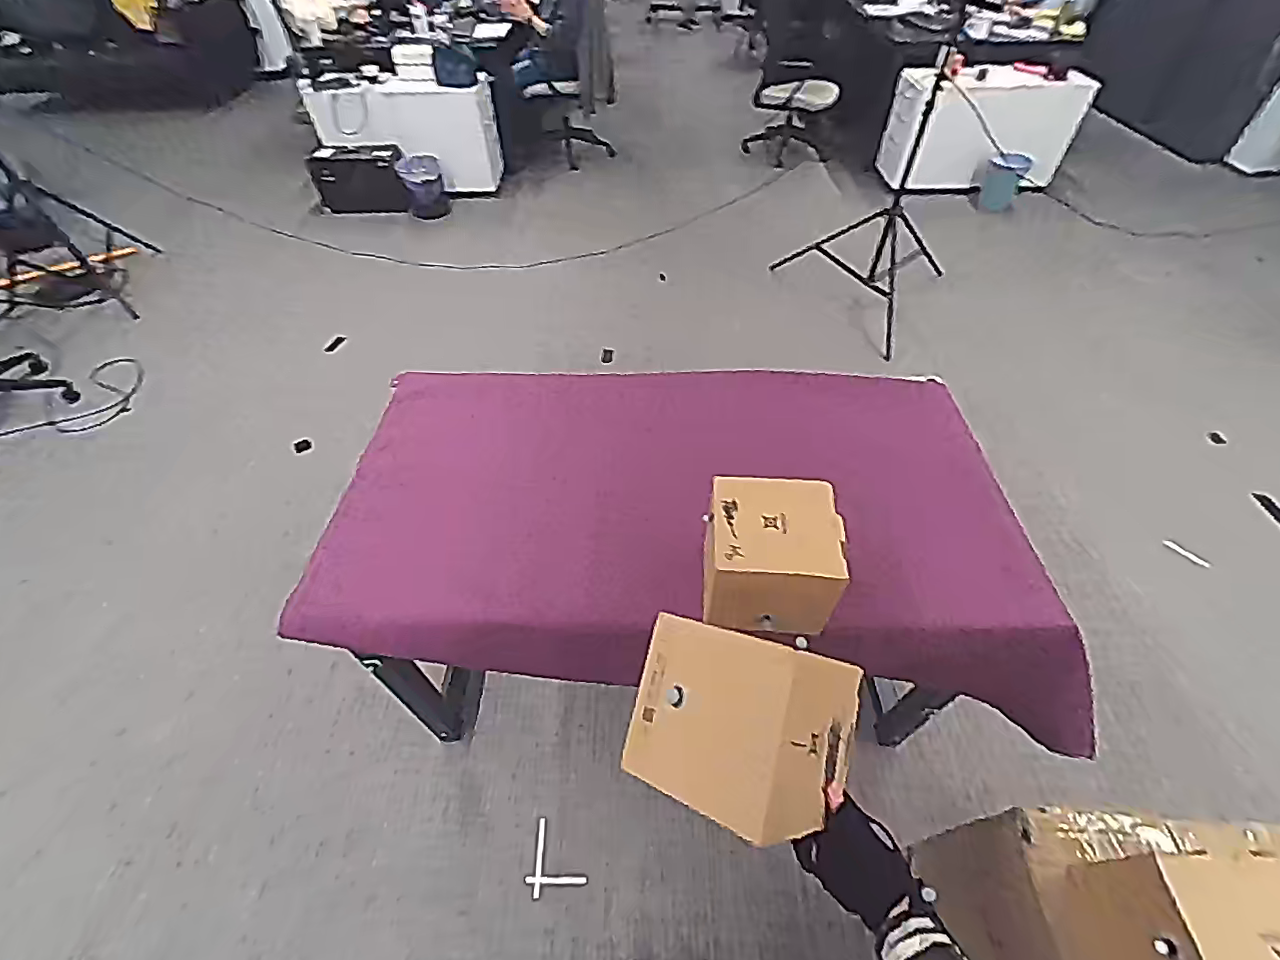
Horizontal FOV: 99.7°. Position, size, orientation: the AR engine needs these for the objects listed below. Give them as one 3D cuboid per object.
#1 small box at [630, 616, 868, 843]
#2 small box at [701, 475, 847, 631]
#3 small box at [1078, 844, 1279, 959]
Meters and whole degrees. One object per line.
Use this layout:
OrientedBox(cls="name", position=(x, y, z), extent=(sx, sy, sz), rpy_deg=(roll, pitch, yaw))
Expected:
OrientedBox(cls="small box", position=(0.120, 0.255, 0.584), extent=(0.176, 0.179, 0.168), rpy_deg=(3, 71, 43))
OrientedBox(cls="small box", position=(0.190, 0.114, 0.818), extent=(0.179, 0.176, 0.168), rpy_deg=(4, 48, 3))
OrientedBox(cls="small box", position=(0.644, 0.517, 0.596), extent=(0.168, 0.176, 0.179), rpy_deg=(-2, 50, 3))
